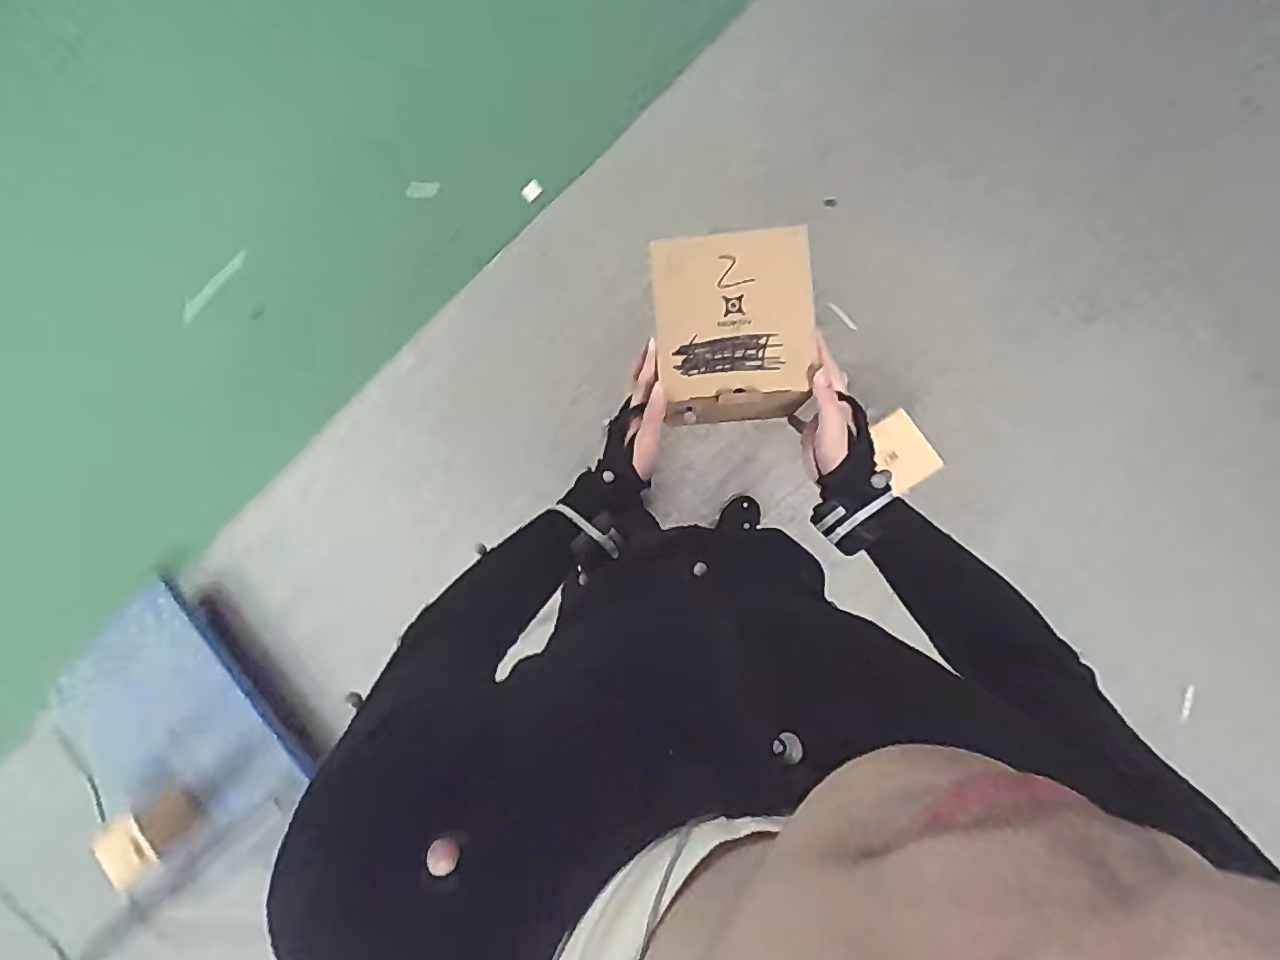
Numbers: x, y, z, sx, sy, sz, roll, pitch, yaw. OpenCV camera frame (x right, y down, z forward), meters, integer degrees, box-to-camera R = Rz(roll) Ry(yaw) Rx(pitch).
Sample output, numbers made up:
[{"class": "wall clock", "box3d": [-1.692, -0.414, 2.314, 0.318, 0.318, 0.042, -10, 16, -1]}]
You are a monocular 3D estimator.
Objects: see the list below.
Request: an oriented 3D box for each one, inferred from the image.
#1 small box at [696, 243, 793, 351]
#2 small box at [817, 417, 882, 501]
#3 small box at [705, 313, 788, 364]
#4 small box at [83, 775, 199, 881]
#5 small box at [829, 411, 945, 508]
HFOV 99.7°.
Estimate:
[{"class": "small box", "box3d": [0.264, -0.454, 1.375, 0.179, 0.176, 0.168, -36, 86, 9]}, {"class": "small box", "box3d": [0.612, -0.056, 1.490, 0.179, 0.176, 0.168, -29, 84, 9]}, {"class": "small box", "box3d": [0.294, -0.454, 1.536, 0.168, 0.176, 0.179, -35, 86, 8]}, {"class": "small box", "box3d": [-1.477, 1.030, 1.618, 0.179, 0.176, 0.168, -38, 85, 7]}, {"class": "small box", "box3d": [0.596, -0.050, 1.330, 0.179, 0.176, 0.168, -35, 86, 8]}]
